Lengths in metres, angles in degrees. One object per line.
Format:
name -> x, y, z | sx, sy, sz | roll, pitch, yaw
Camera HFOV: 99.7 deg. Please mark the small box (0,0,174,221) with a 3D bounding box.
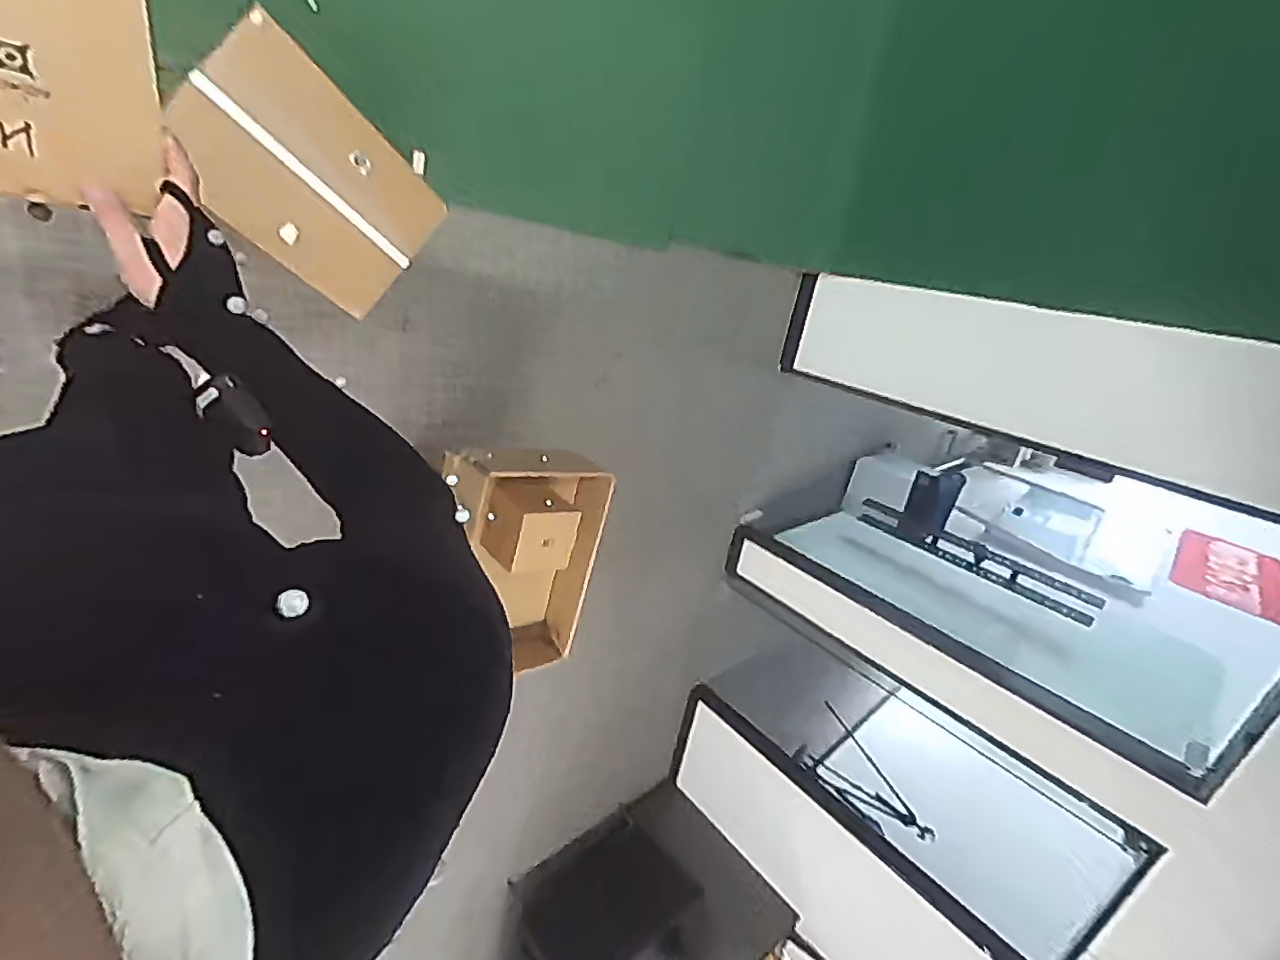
small box -> -0.508, -0.322, 0.437 | 0.168, 0.176, 0.179 | -12, 119, -45
